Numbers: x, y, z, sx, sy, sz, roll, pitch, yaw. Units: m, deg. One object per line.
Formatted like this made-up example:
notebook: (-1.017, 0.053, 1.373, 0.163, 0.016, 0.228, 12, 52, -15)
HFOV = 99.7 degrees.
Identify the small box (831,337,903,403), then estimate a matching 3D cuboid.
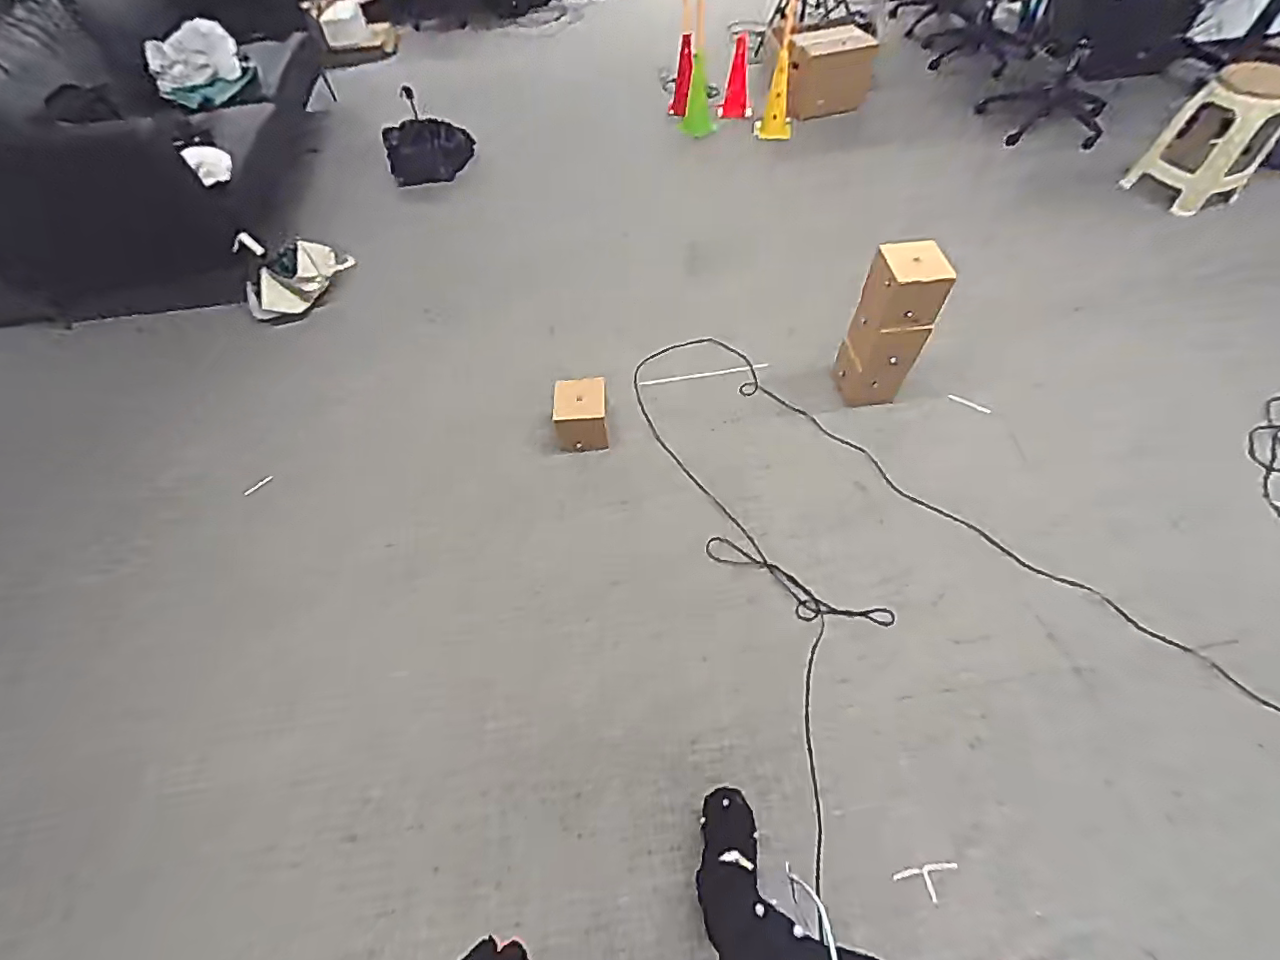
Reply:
small box: (0.770, -0.381, 1.854, 0.179, 0.176, 0.168, -7, 56, -2)

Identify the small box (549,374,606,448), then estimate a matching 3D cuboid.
small box: (-0.202, -0.227, 1.784, 0.168, 0.176, 0.179, -3, 56, 1)

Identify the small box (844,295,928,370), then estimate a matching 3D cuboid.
small box: (0.771, -0.474, 1.717, 0.168, 0.176, 0.179, -6, 57, -2)

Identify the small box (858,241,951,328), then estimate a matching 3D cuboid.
small box: (0.765, -0.571, 1.587, 0.168, 0.176, 0.179, -6, 57, -2)
